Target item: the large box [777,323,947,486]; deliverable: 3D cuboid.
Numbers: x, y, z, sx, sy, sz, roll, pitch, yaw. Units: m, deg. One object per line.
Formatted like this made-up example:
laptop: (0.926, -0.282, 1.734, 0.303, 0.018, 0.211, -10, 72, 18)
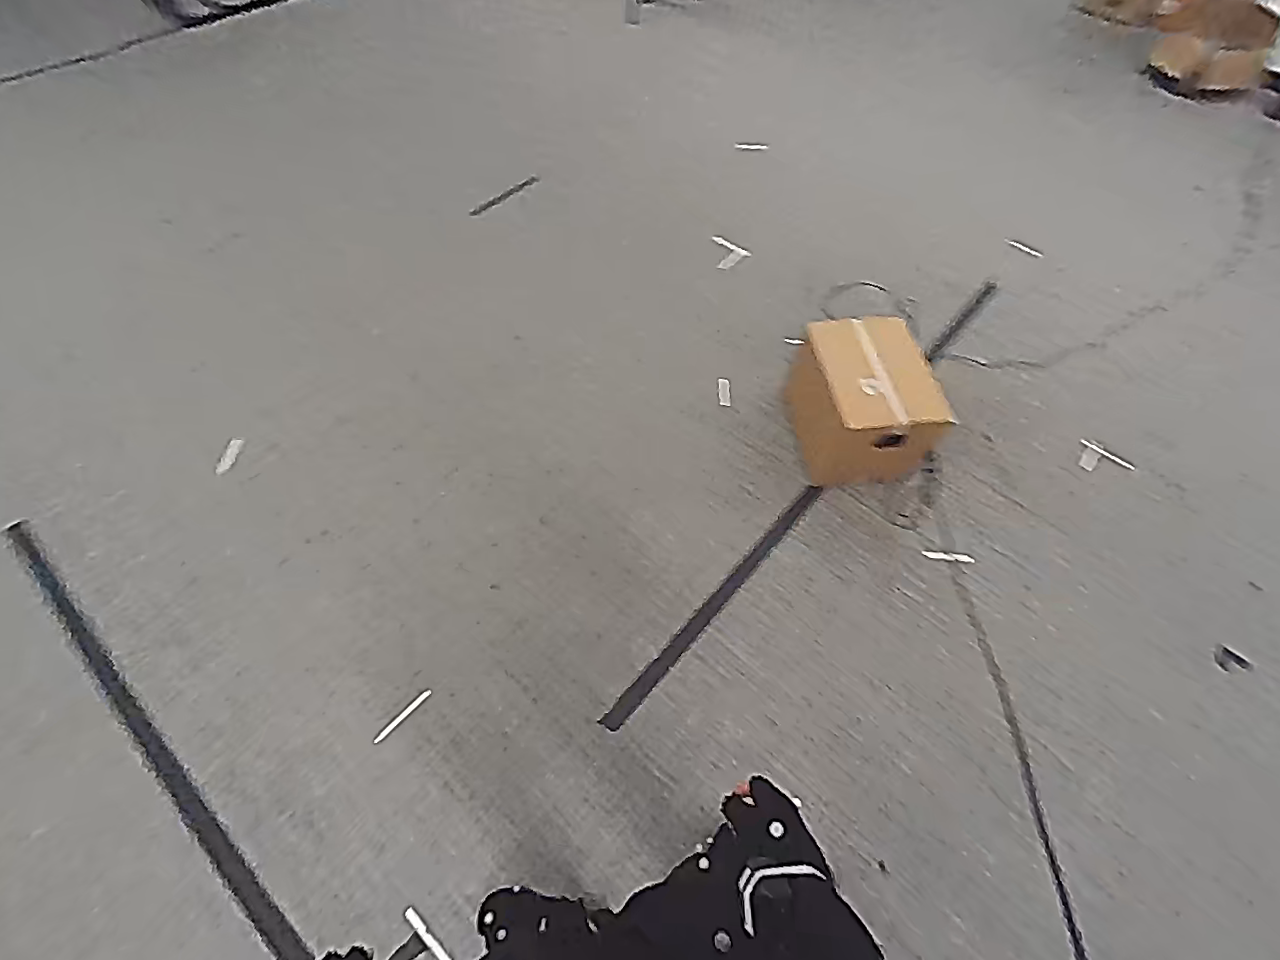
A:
large box: (0.663, -0.234, 1.698, 0.320, 0.320, 0.408, -5, 60, -6)
